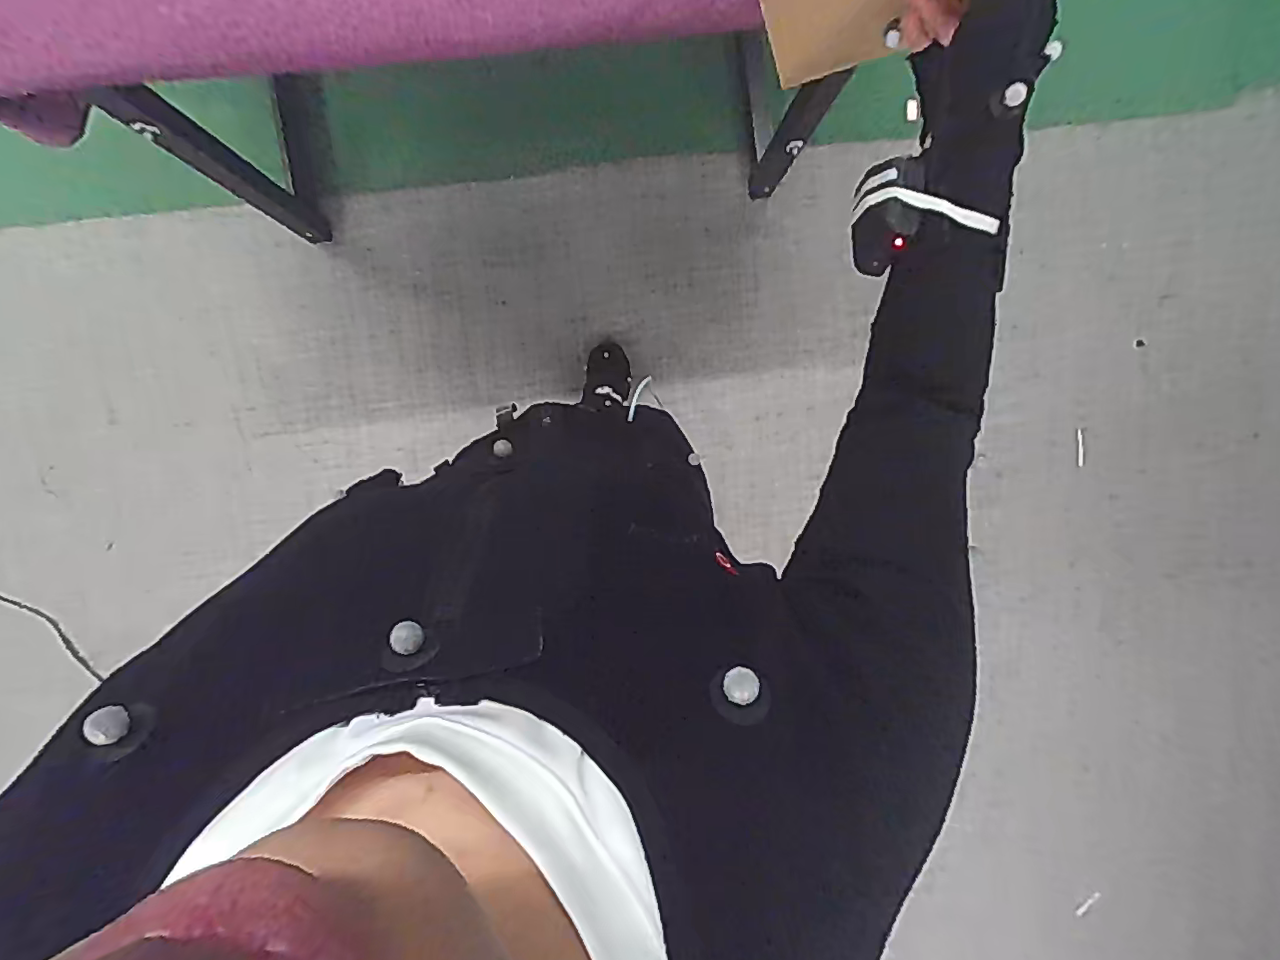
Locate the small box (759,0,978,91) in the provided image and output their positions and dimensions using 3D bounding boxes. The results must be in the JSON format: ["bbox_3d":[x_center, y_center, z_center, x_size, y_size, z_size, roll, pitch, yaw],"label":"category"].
[{"bbox_3d":[0.194,-0.468,0.437,0.168,0.176,0.179,-19,102,-1],"label":"small box"}]
